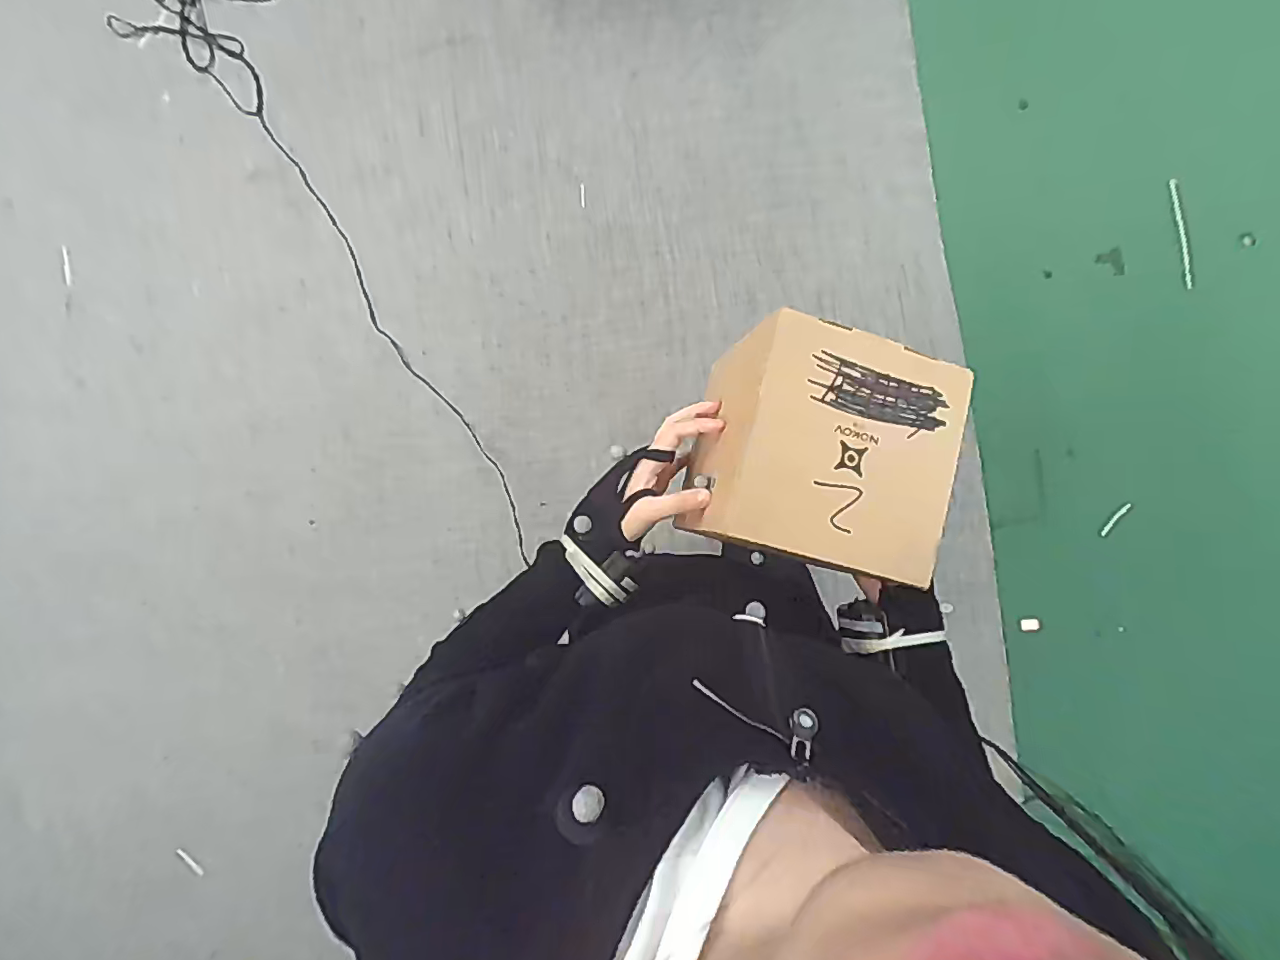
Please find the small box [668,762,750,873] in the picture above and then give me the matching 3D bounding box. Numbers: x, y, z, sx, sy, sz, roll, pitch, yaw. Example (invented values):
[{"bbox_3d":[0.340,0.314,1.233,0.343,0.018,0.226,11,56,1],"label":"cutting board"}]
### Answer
[{"bbox_3d":[0.168,0.846,1.377,0.168,0.176,0.179,-13,86,1],"label":"small box"}]
